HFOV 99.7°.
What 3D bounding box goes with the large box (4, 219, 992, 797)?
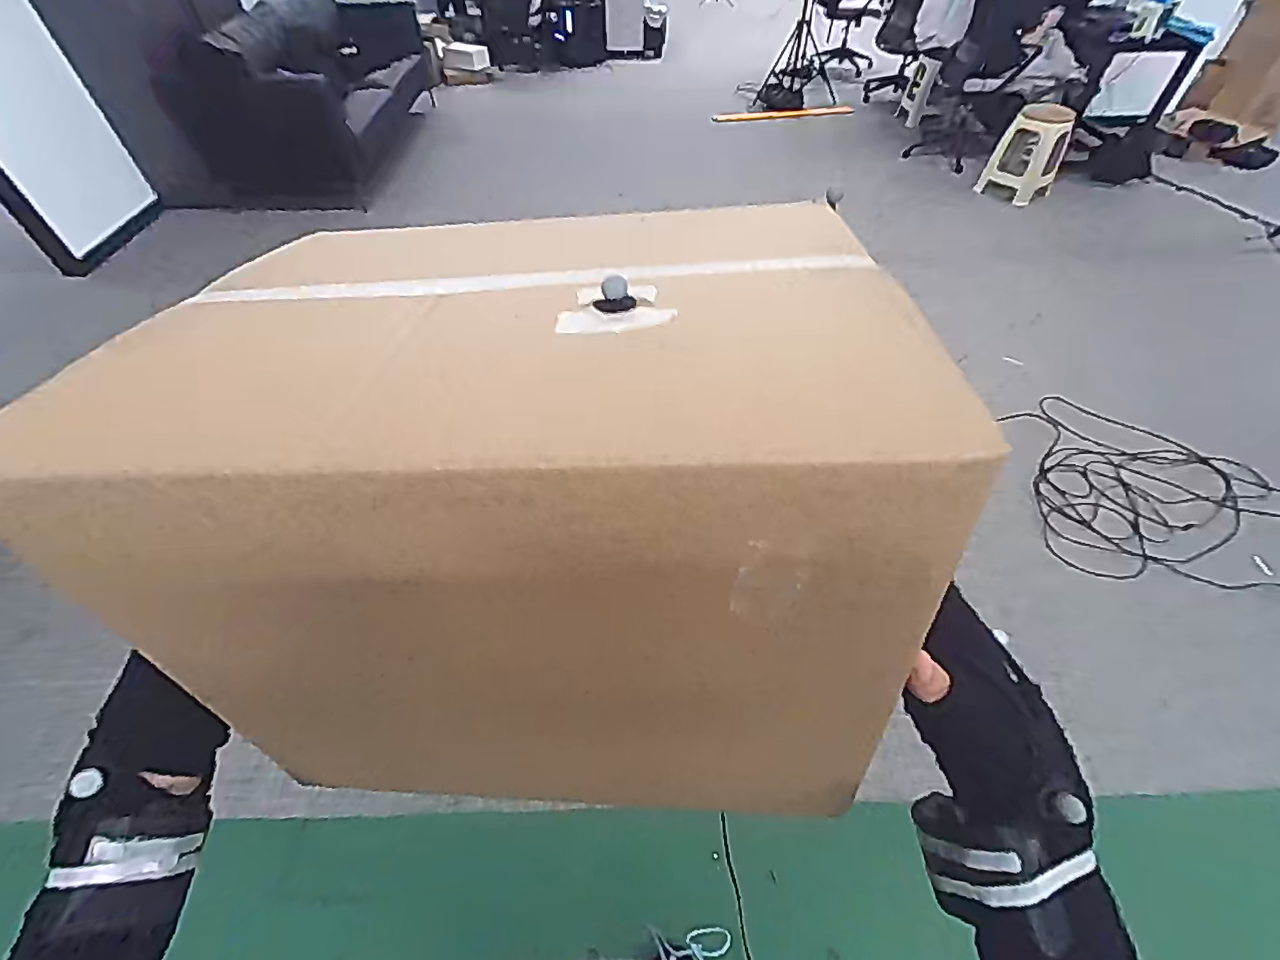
[{"bbox_3d":[-0.052,0.013,0.414,0.408,0.320,0.320,0,41,6],"label":"large box"}]
